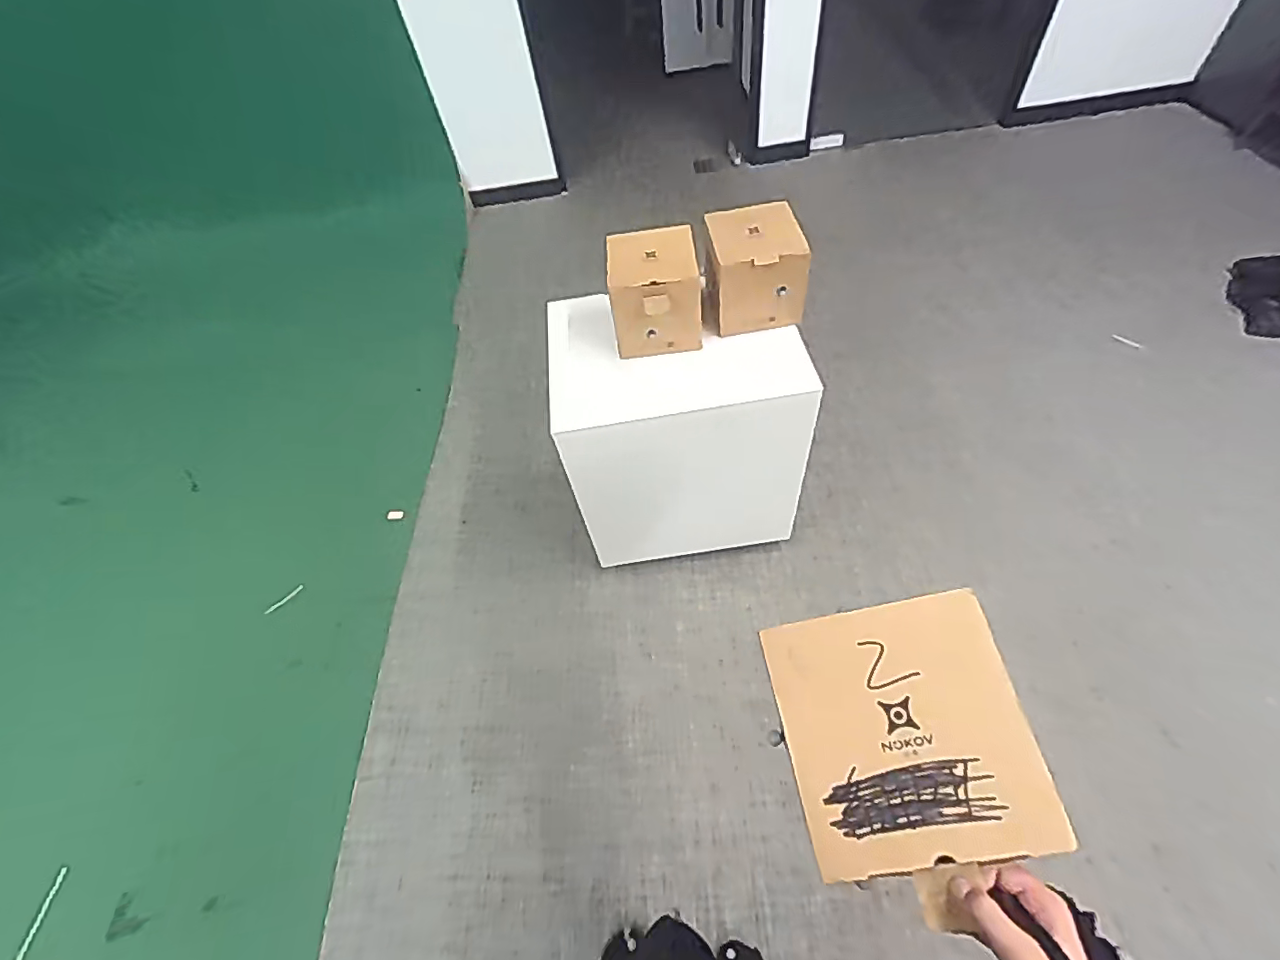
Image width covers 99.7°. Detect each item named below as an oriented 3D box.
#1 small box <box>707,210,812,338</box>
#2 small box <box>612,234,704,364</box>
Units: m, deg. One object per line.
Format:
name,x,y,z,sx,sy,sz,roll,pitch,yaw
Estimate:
small box,0.229,-0.399,1.073,0.168,0.176,0.179,-9,53,2
small box,0.037,-0.355,1.070,0.168,0.176,0.179,-6,55,4
